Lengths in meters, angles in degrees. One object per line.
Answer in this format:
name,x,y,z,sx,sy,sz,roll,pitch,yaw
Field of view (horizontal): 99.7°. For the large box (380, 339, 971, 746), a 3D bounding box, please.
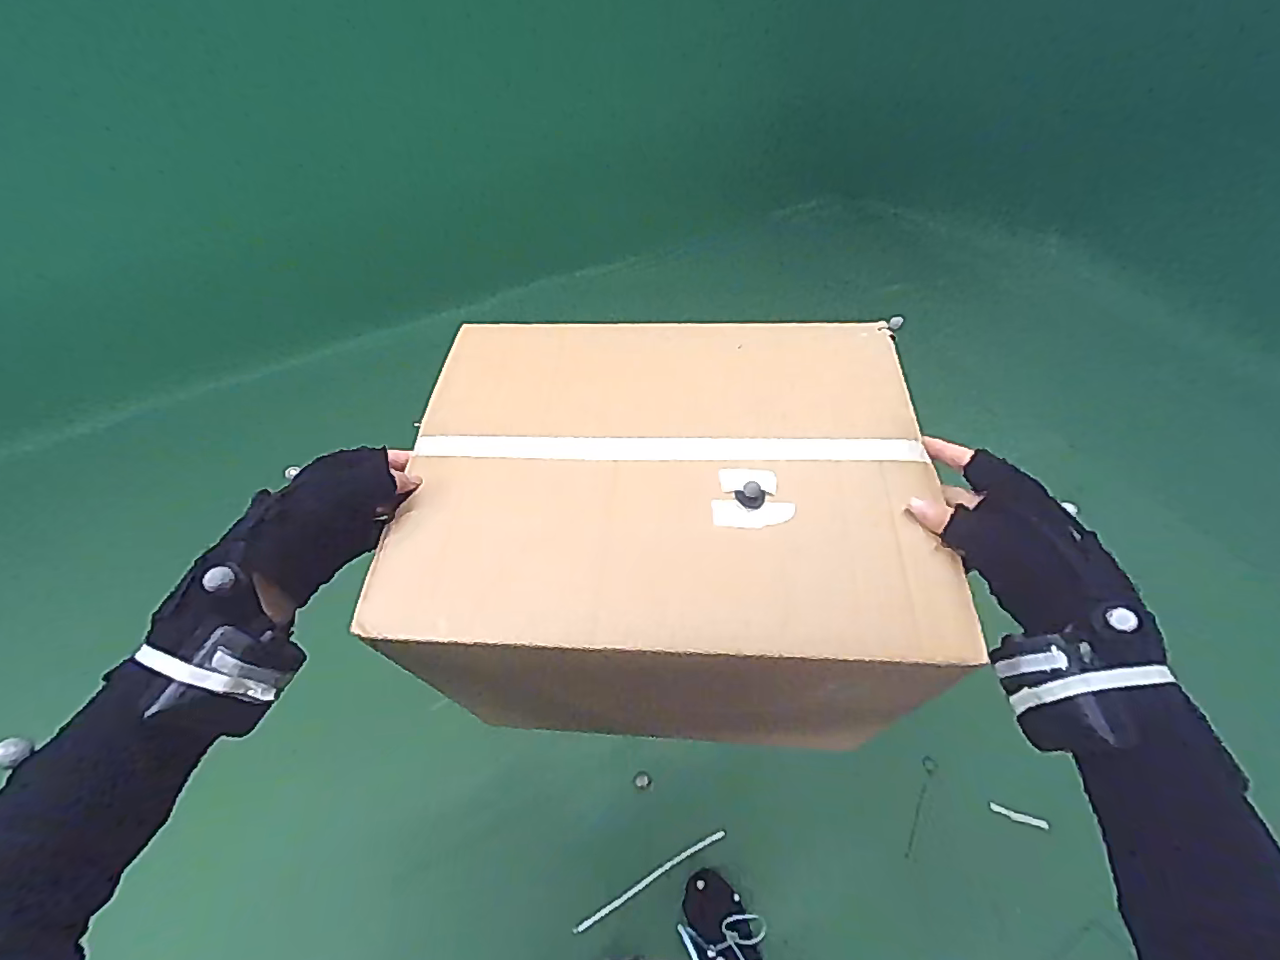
large box,0.032,0.074,0.563,0.408,0.320,0.320,2,55,6
